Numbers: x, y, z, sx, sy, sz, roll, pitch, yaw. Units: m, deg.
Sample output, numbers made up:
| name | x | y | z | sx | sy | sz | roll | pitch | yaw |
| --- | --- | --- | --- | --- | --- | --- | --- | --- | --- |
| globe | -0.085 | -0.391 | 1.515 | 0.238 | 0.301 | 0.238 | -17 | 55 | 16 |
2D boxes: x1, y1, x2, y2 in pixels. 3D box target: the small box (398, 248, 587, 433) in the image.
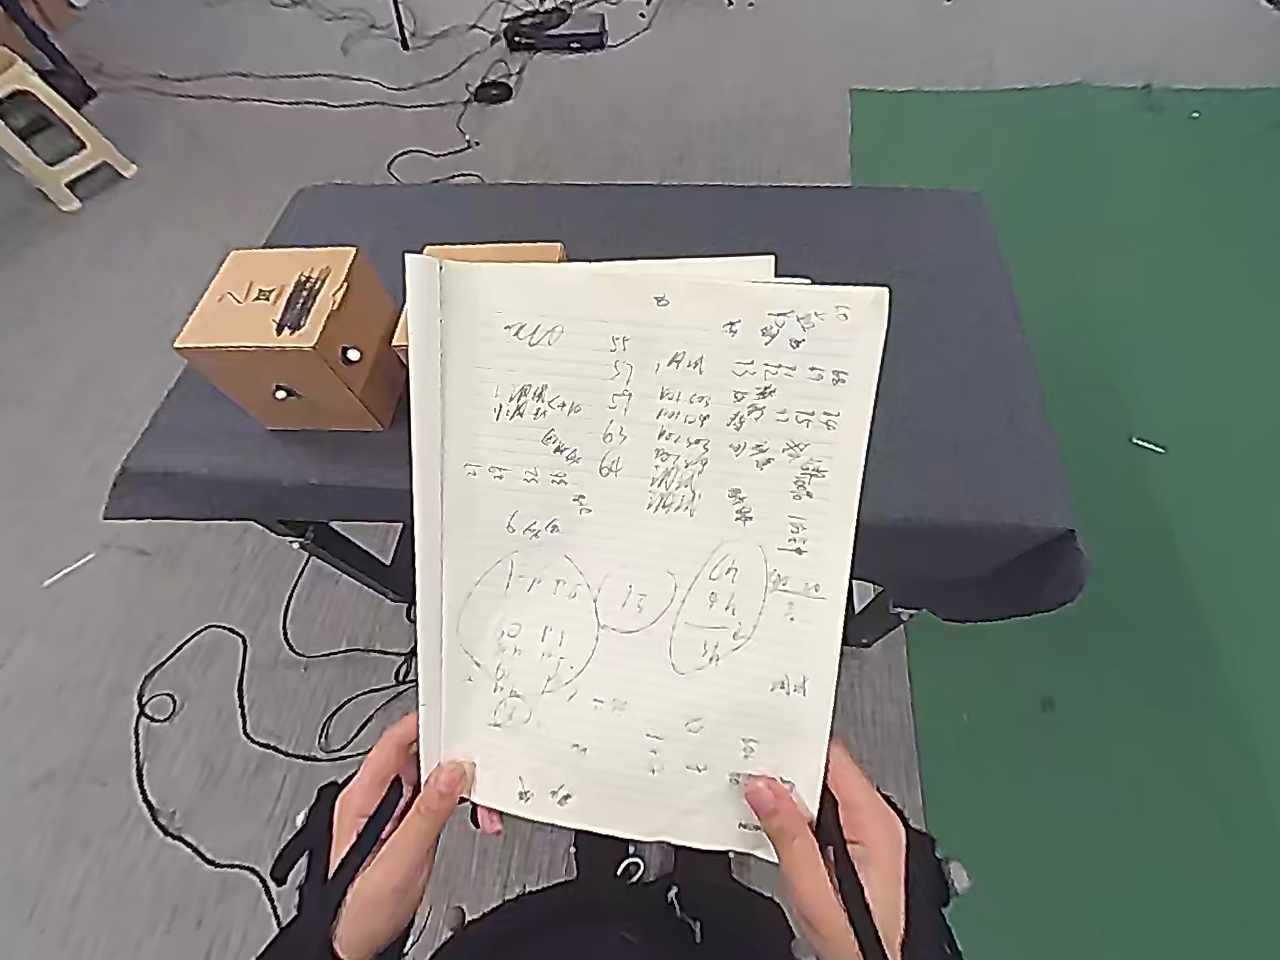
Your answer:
| name | x | y | z | sx | sy | sz | roll | pitch | yaw |
| --- | --- | --- | --- | --- | --- | --- | --- | --- | --- |
| small box | -0.174 | -0.172 | 0.698 | 0.179 | 0.176 | 0.168 | 0 | 61 | 4 |
